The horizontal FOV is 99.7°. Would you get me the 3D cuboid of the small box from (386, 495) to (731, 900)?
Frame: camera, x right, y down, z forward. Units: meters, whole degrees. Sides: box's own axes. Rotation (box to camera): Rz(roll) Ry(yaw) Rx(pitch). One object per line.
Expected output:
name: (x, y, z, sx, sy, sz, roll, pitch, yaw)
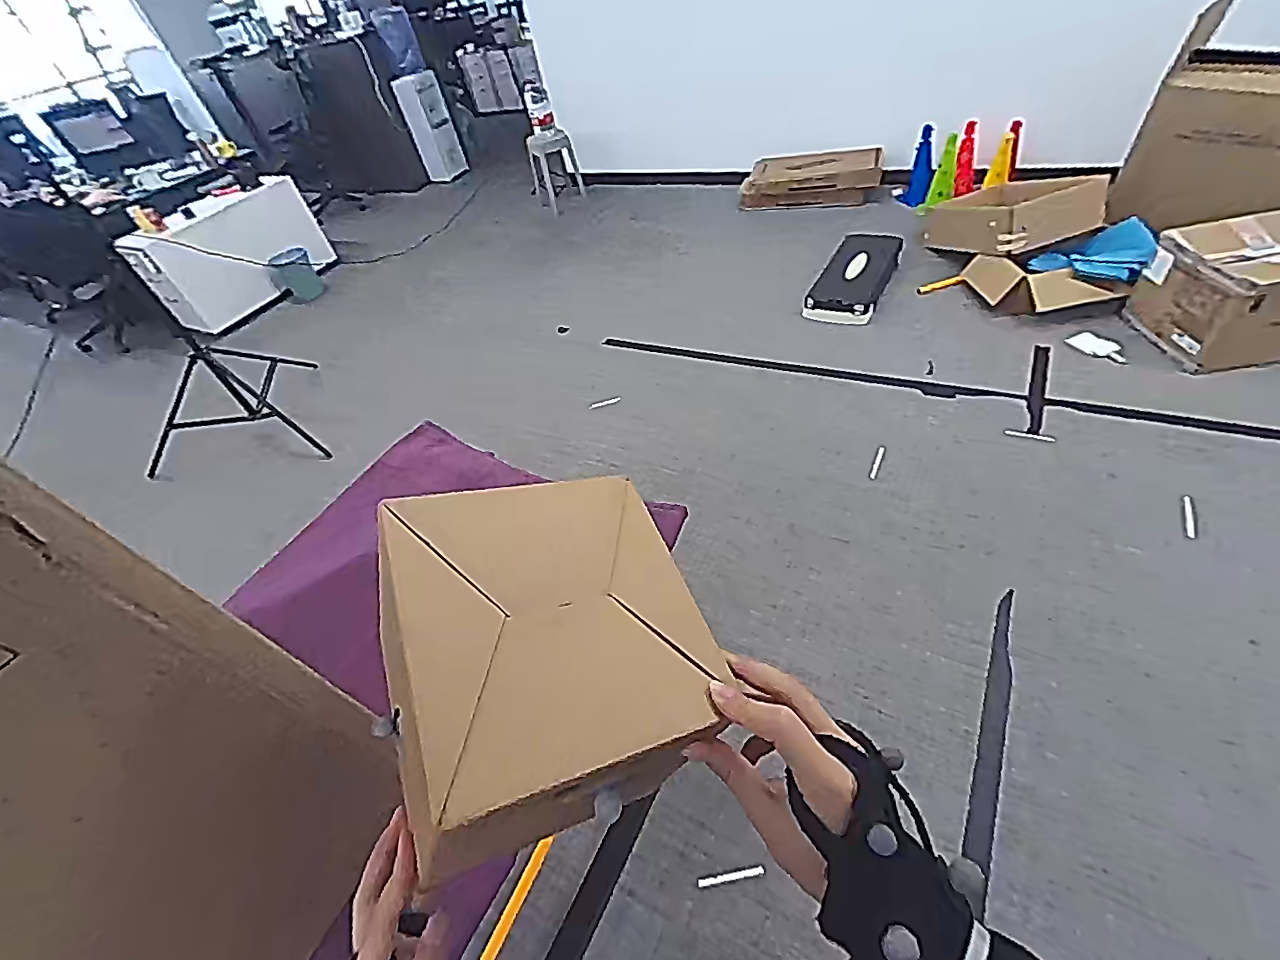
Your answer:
small box: (-0.067, 0.129, 0.359, 0.168, 0.176, 0.179, -6, 50, -30)
